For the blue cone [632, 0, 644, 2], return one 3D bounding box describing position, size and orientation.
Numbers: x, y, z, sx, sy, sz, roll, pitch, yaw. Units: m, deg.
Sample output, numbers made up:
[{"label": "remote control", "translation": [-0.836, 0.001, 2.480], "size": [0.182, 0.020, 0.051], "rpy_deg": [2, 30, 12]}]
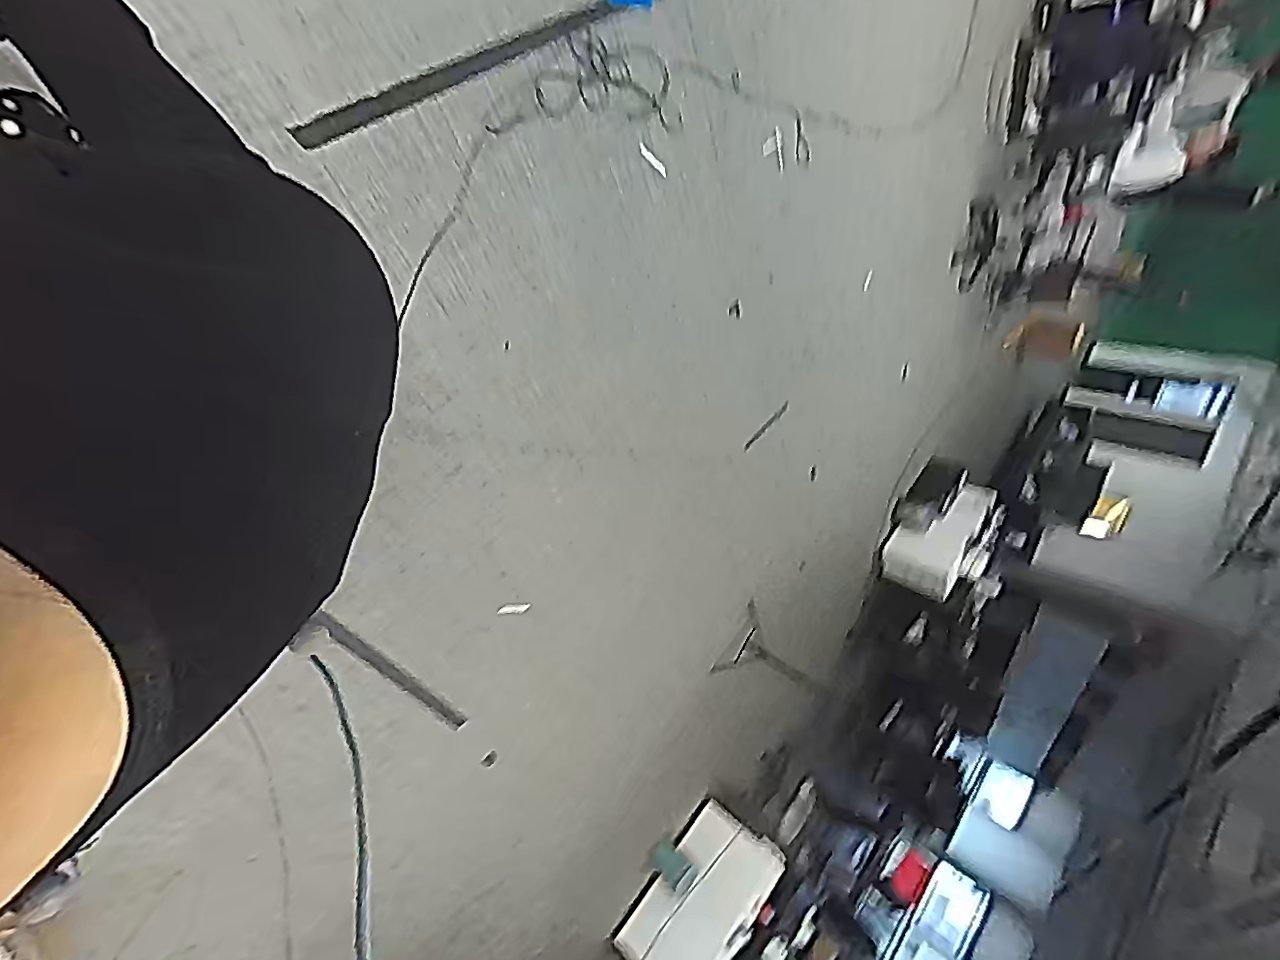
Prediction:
[{"label": "blue cone", "translation": [0.058, -1.440, 1.430], "size": [0.192, 0.380, 0.193], "rpy_deg": [-25, 125, -36]}]
